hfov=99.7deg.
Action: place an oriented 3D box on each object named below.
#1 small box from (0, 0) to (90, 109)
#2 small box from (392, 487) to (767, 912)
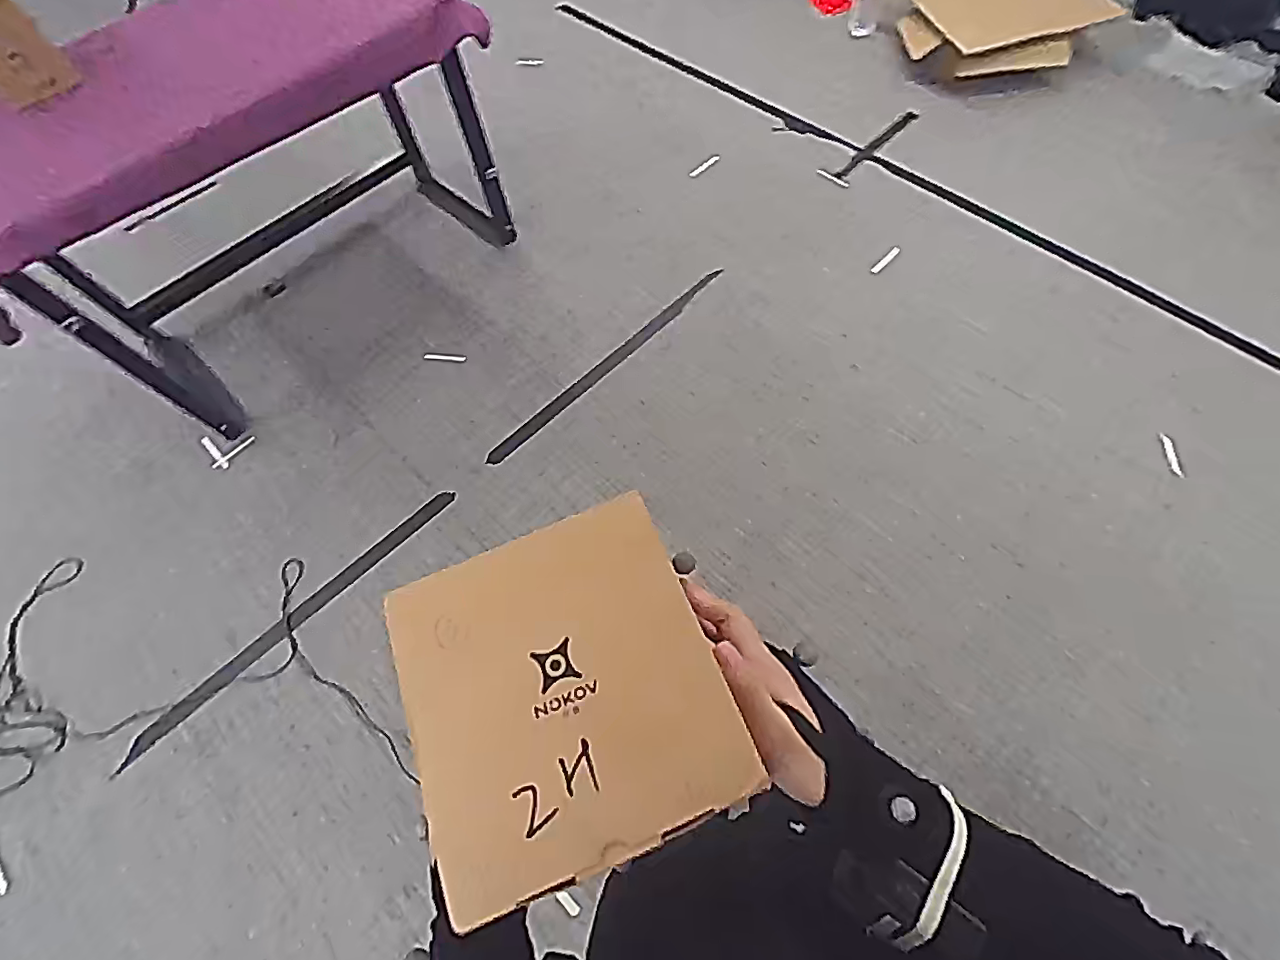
[{"bbox_3d":[-1.407,-0.973,1.208,0.179,0.176,0.168,42,73,17],"label":"small box"},{"bbox_3d":[-0.037,0.137,0.367,0.168,0.176,0.179,-23,66,-5],"label":"small box"}]
